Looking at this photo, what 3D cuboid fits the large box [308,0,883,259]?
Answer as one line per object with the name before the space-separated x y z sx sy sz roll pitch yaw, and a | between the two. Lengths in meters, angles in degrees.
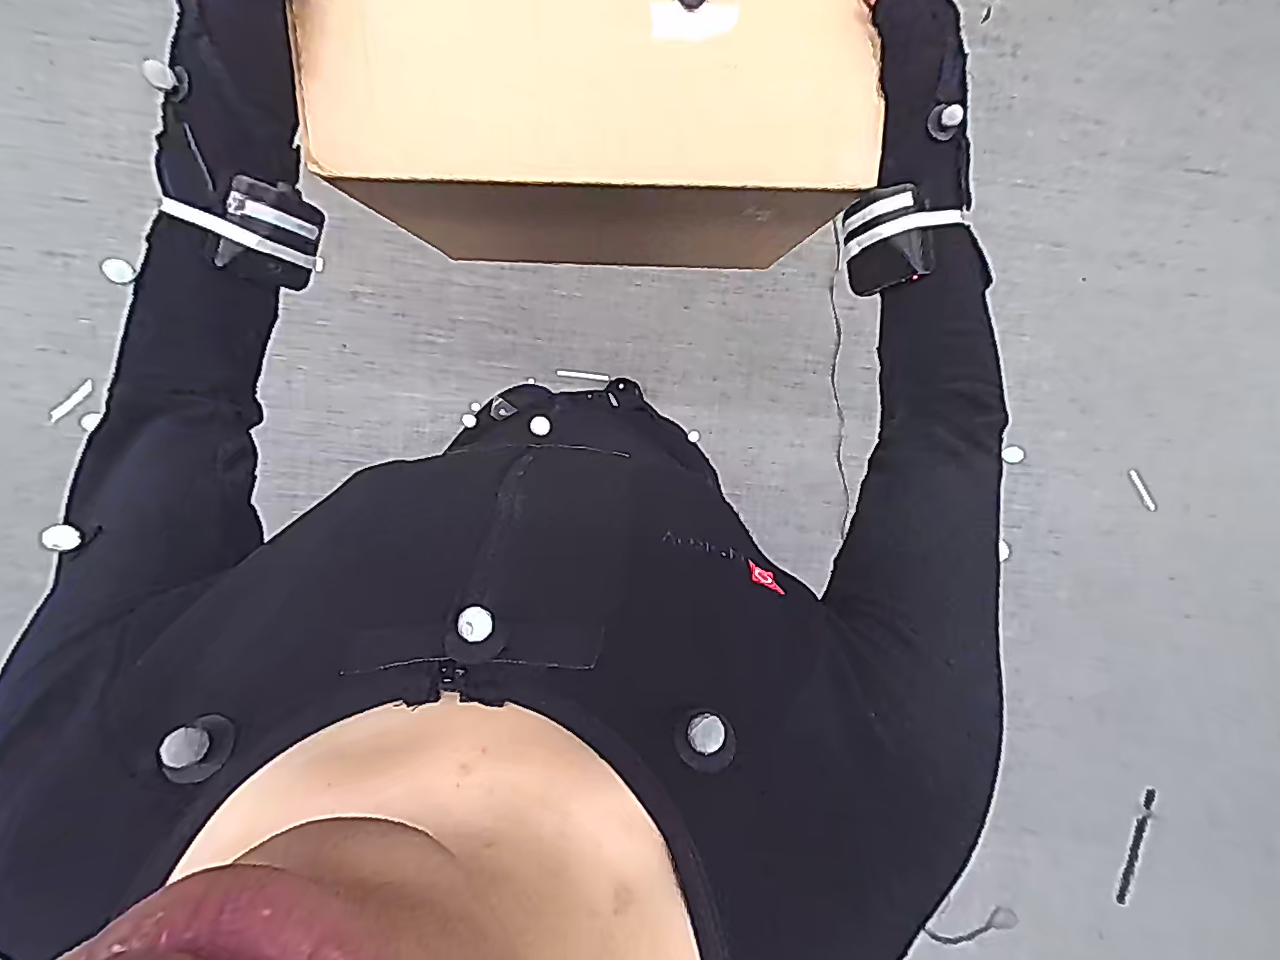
large box | -0.032 -0.403 0.510 0.408 0.320 0.320 1 102 -1
